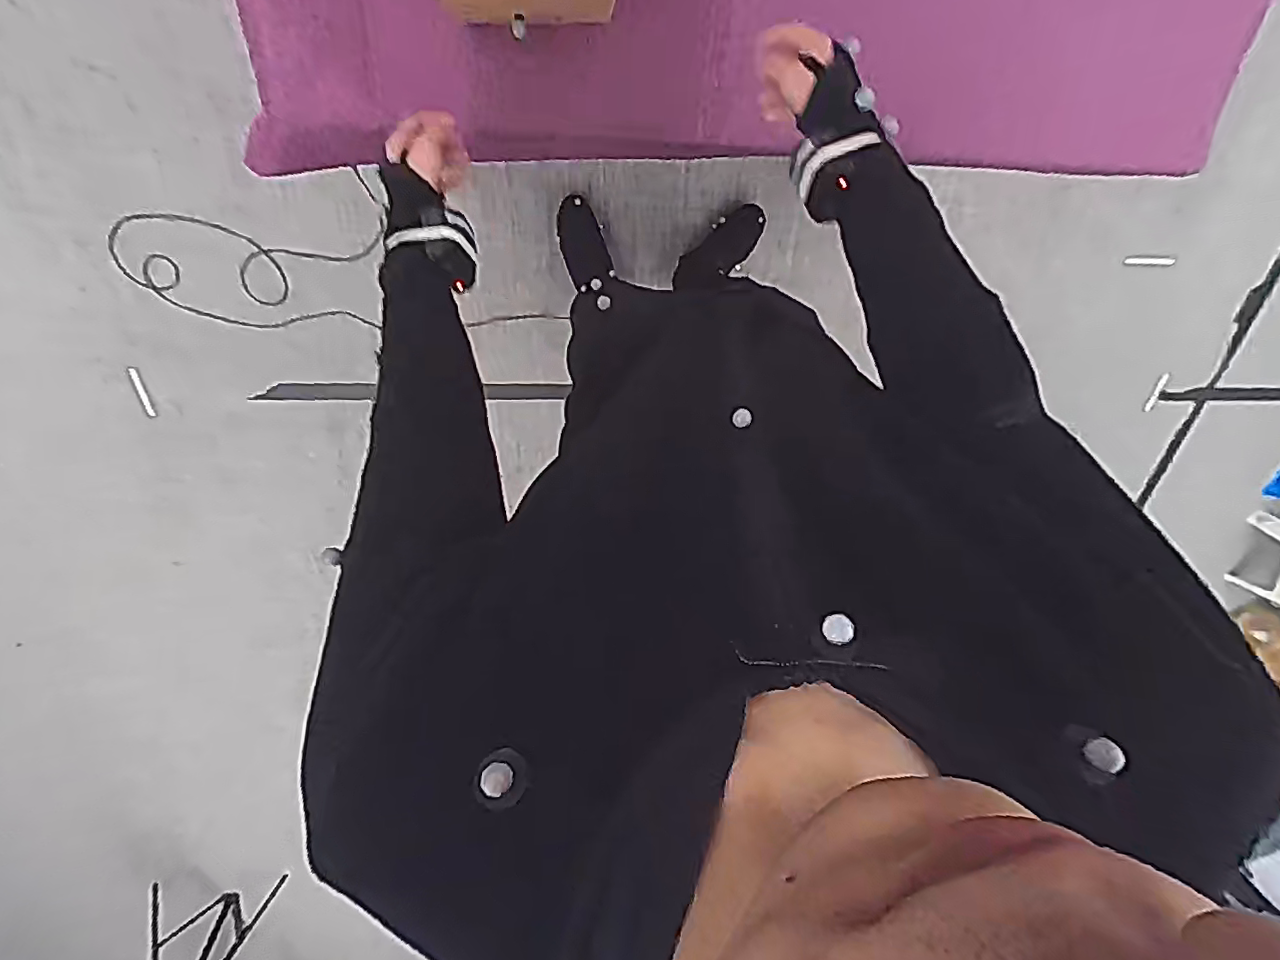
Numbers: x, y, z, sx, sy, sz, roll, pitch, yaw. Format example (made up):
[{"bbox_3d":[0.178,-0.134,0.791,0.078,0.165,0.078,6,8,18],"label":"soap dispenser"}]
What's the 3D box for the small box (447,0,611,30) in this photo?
[{"bbox_3d":[-0.113,-0.535,0.485,0.168,0.176,0.179,-4,122,-5],"label":"small box"}]
